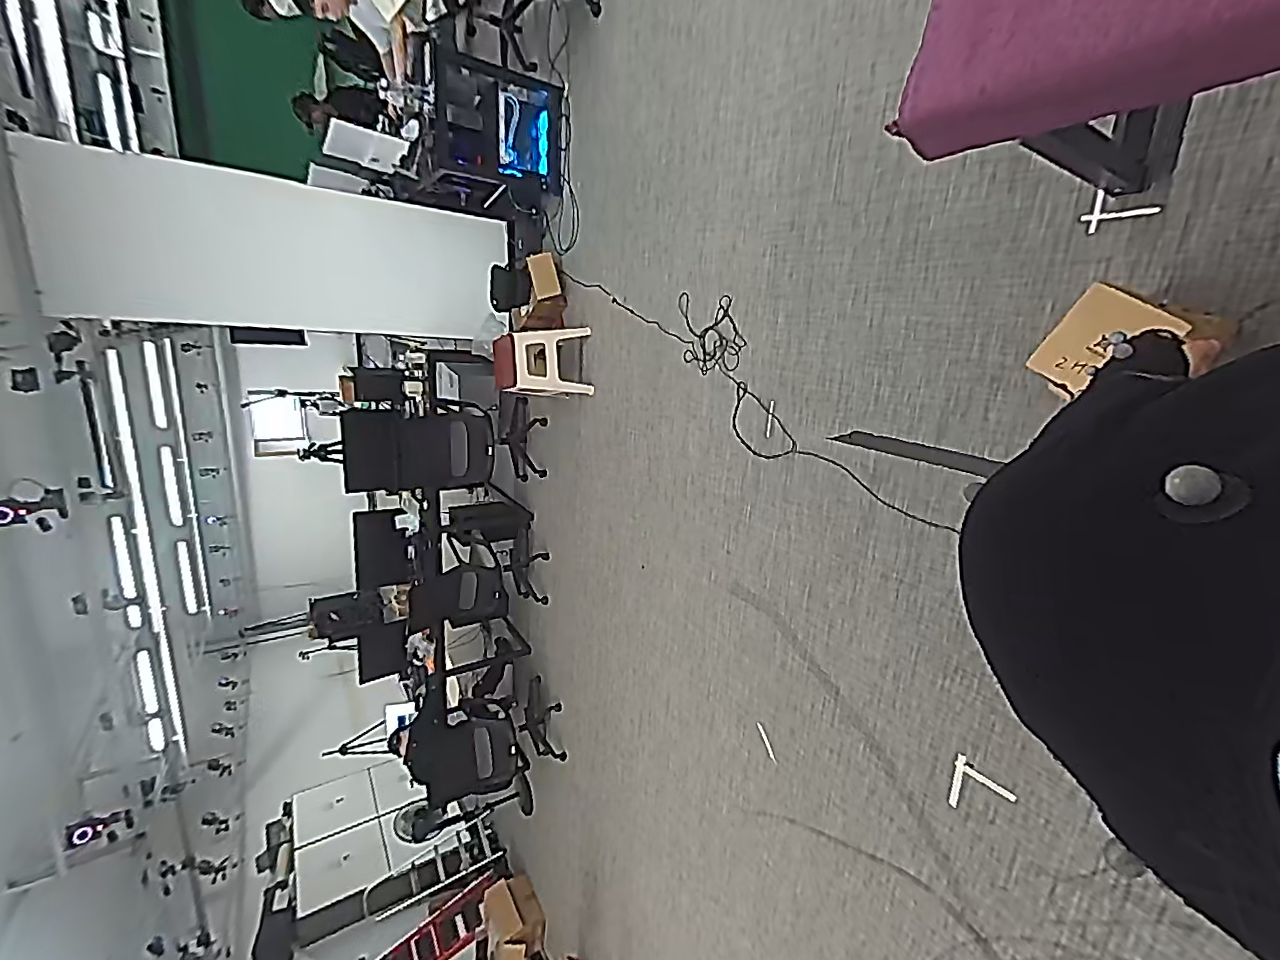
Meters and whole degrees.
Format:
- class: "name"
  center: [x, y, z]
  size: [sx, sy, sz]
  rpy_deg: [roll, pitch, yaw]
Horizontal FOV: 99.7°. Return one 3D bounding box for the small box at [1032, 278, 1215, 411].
- class: "small box"
  center: [0.884, -0.246, 0.990]
  size: [0.168, 0.176, 0.179]
  rpy_deg: [55, 139, 36]
